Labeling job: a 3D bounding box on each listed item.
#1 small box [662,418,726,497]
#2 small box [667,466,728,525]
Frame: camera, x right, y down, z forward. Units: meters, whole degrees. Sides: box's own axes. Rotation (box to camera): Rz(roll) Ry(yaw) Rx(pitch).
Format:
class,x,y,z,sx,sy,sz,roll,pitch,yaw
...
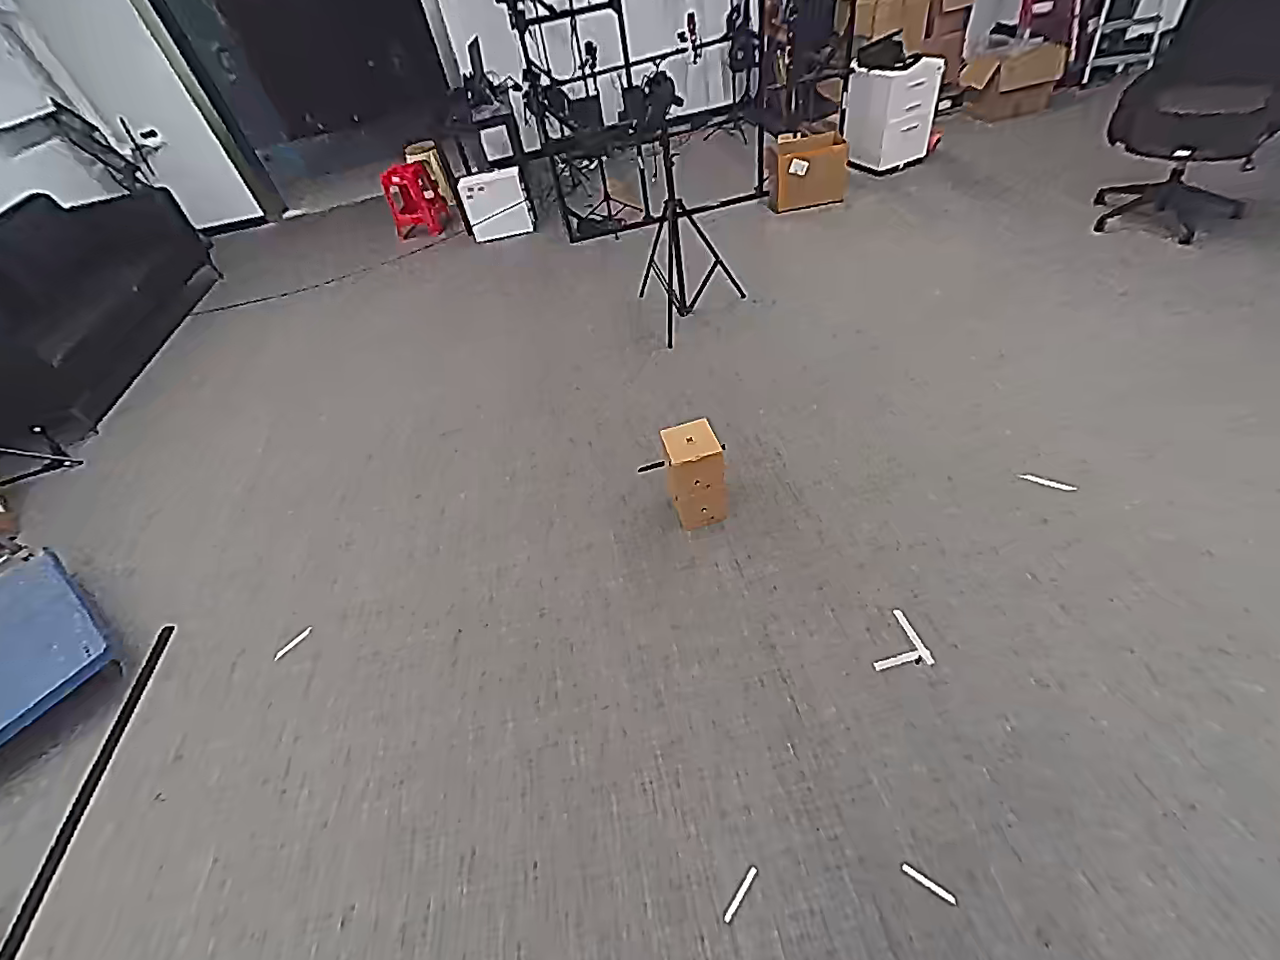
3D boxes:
class,x,y,z,sx,sy,sz,roll,pitch,yaw
small box,0.179,-0.073,1.803,0.168,0.176,0.179,-16,46,-3
small box,0.206,0.040,1.917,0.168,0.176,0.179,-17,45,-4
